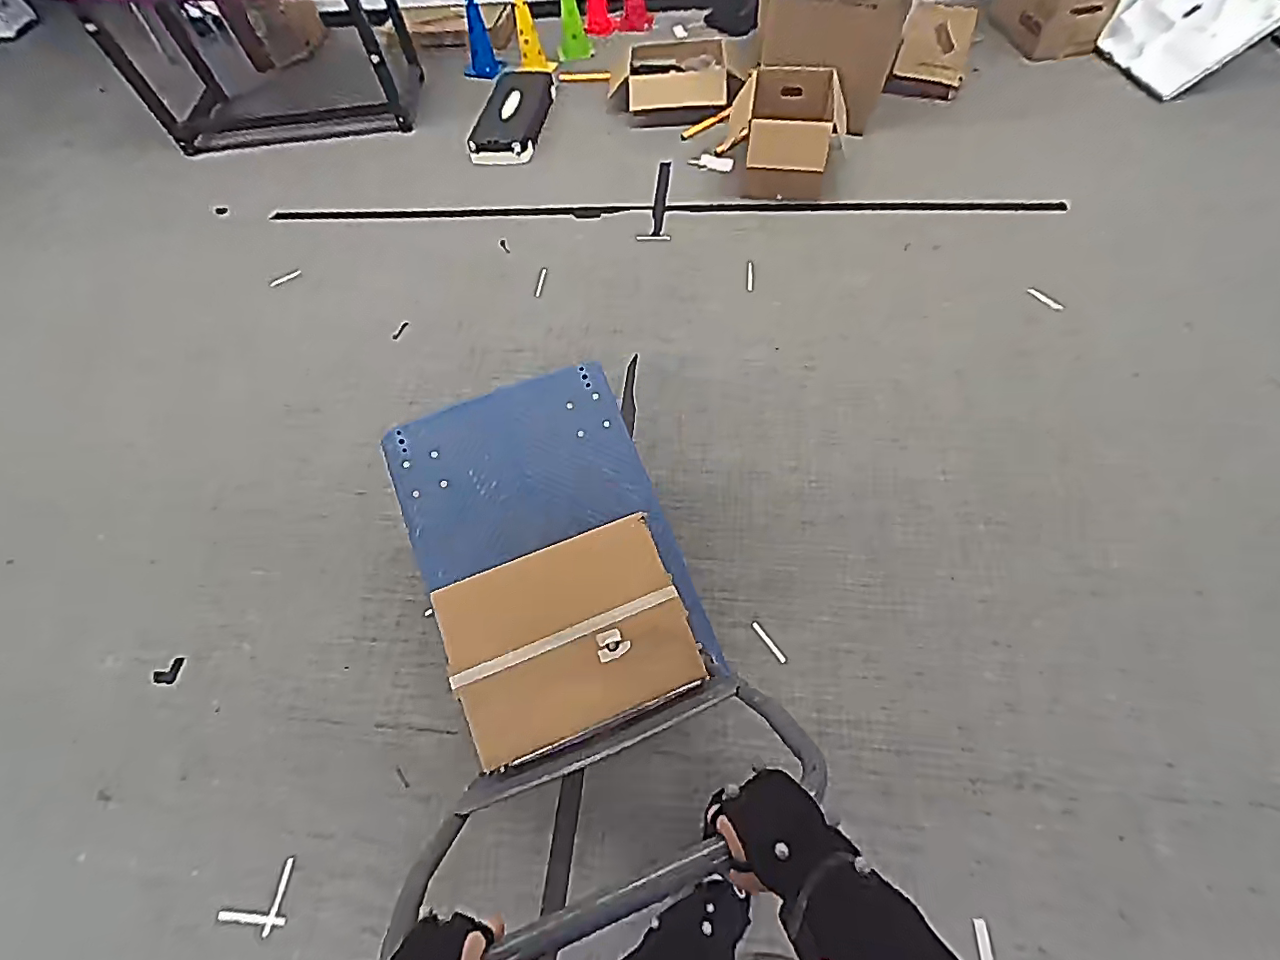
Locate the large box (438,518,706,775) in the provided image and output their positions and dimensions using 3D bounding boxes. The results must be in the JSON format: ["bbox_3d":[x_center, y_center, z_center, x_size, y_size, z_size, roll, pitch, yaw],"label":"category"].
[{"bbox_3d":[-0.130,0.321,1.096,0.408,0.320,0.320,-22,78,-9],"label":"large box"}]
